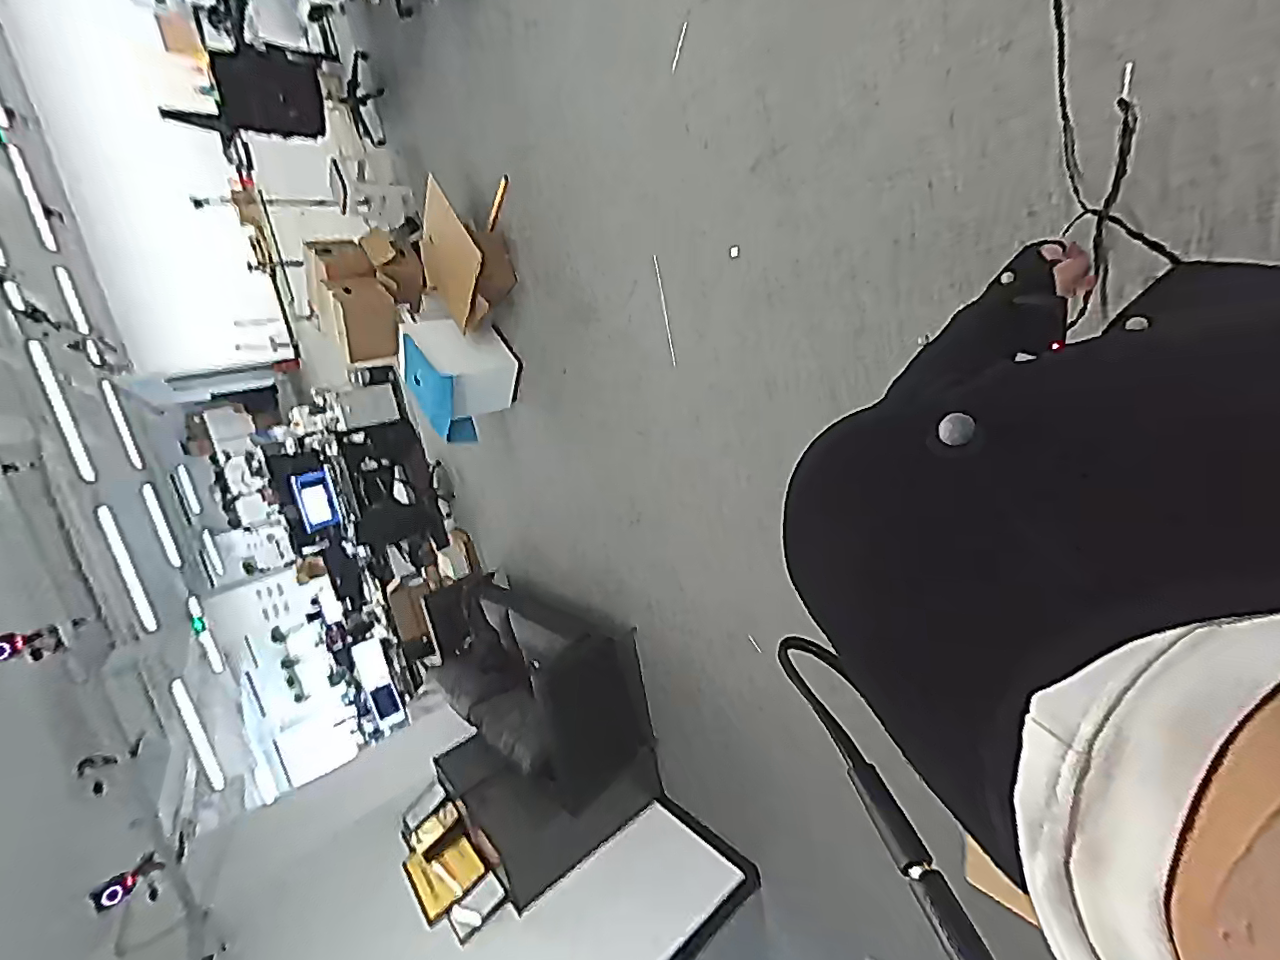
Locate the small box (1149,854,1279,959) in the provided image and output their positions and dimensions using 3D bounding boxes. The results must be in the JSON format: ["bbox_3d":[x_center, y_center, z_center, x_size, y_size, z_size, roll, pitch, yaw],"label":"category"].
[{"bbox_3d":[0.912,0.736,0.832,0.168,0.176,0.179,15,117,50],"label":"small box"}]

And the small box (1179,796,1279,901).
[{"bbox_3d":[1.042,0.700,0.927,0.168,0.176,0.179,15,118,48],"label":"small box"}]

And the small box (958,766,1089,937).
[{"bbox_3d":[0.741,0.702,1.046,0.168,0.176,0.179,13,116,50],"label":"small box"}]

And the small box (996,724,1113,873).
[{"bbox_3d":[0.868,0.656,1.141,0.168,0.176,0.179,13,116,50],"label":"small box"}]
